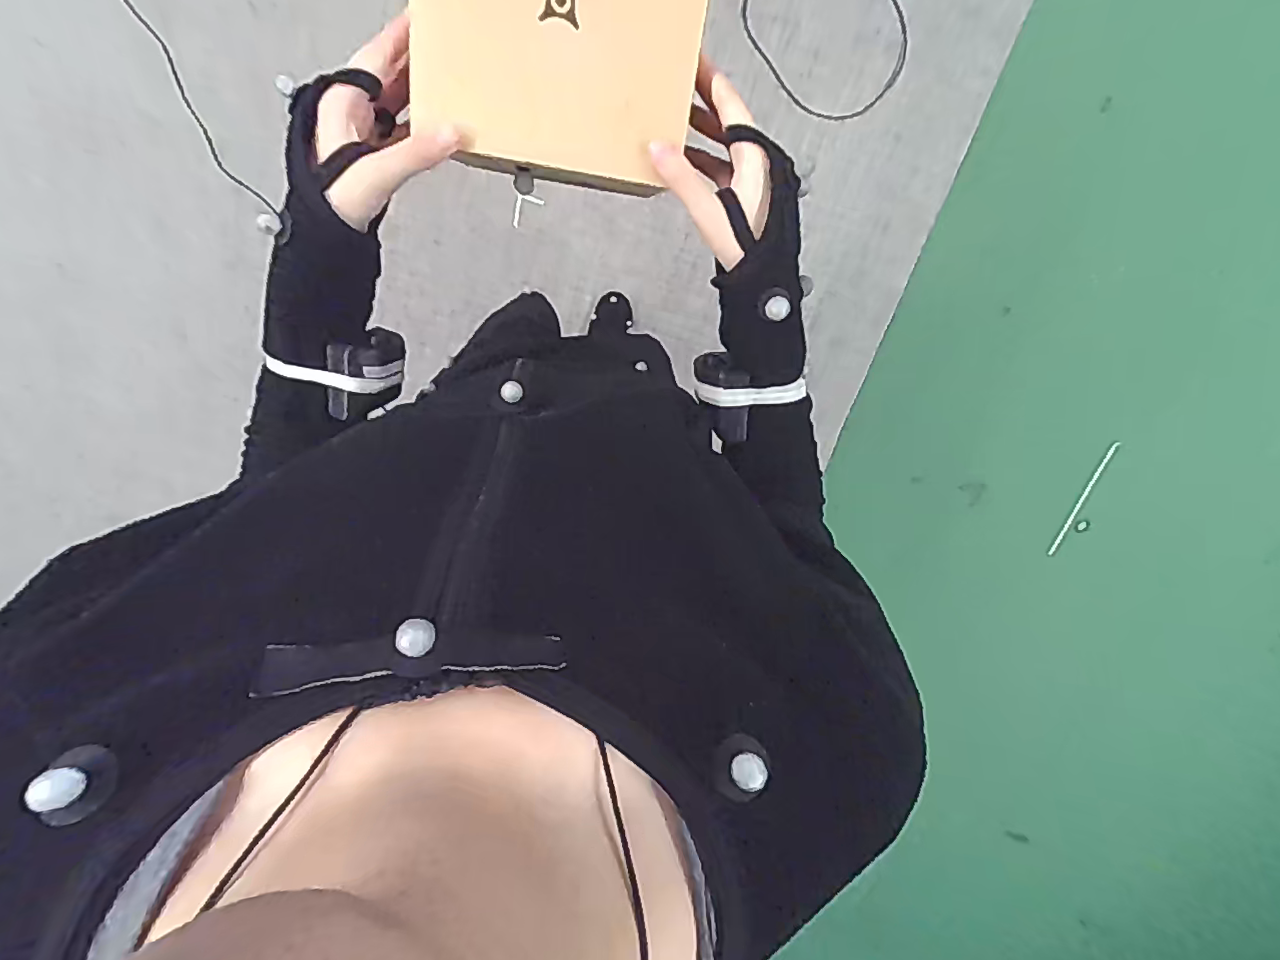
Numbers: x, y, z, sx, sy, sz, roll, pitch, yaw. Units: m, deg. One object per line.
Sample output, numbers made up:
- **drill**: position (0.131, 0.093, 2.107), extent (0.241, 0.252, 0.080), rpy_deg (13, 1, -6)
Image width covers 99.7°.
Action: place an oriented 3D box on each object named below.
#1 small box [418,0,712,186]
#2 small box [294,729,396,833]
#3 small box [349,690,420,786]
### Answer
- **small box**: position (-0.045, -0.315, 0.372), extent (0.168, 0.176, 0.179), rpy_deg (6, 114, -9)
- **small box**: position (-0.811, 0.831, 1.507), extent (0.179, 0.176, 0.168), rpy_deg (26, 104, -11)
- **small box**: position (-0.805, 0.790, 1.667), extent (0.168, 0.176, 0.179), rpy_deg (26, 104, -11)
